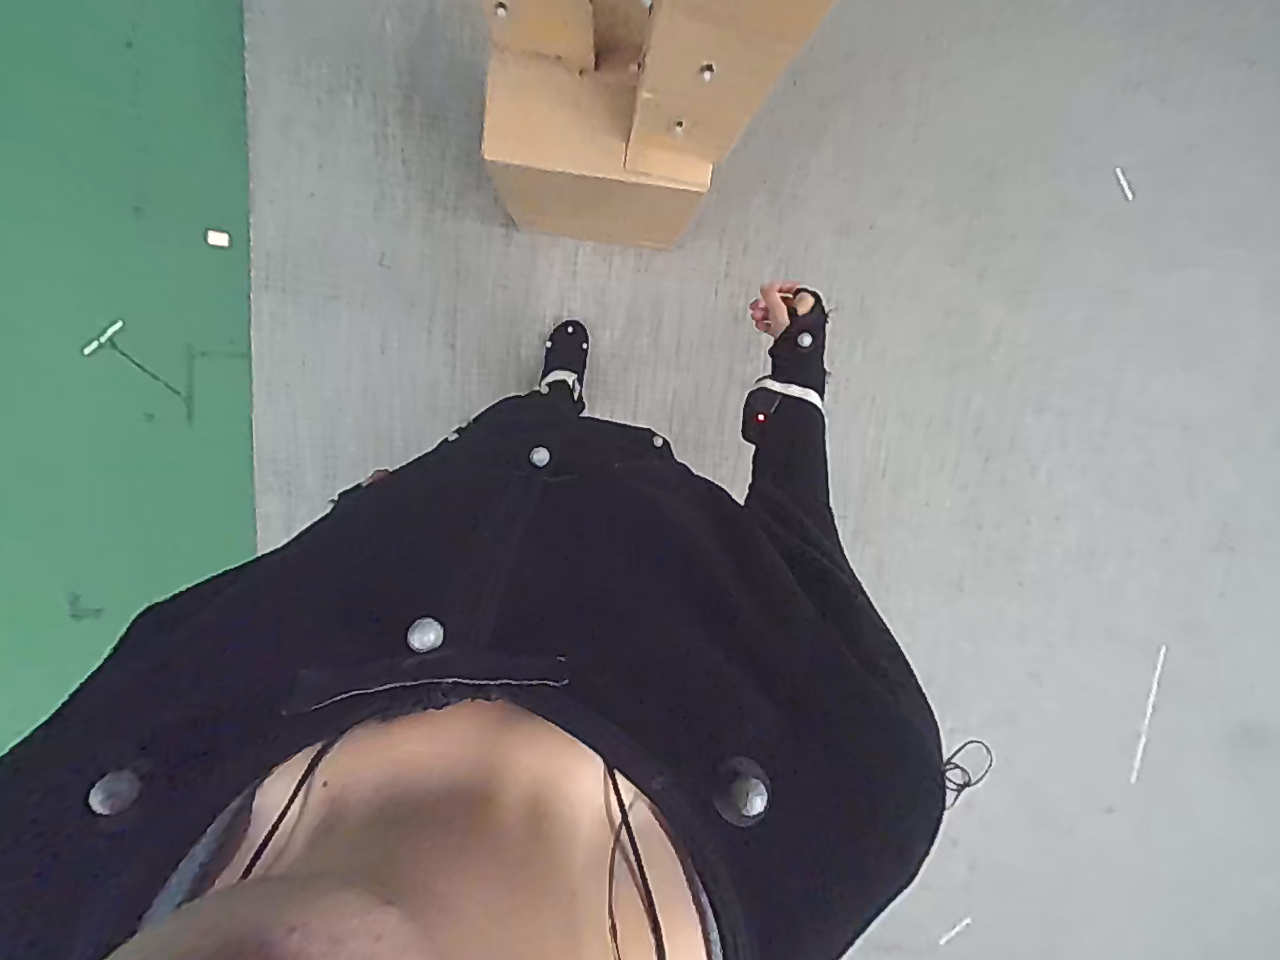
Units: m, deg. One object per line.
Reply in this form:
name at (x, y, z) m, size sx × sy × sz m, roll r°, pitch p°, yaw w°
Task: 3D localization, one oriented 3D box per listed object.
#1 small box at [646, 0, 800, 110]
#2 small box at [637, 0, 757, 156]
small box at (0.112, -0.617, 0.700) m, size 0.179 × 0.176 × 0.168 m, roll 8°, pitch 99°, yaw -6°
small box at (0.094, -0.644, 0.860) m, size 0.179 × 0.176 × 0.168 m, roll 8°, pitch 101°, yaw -5°
